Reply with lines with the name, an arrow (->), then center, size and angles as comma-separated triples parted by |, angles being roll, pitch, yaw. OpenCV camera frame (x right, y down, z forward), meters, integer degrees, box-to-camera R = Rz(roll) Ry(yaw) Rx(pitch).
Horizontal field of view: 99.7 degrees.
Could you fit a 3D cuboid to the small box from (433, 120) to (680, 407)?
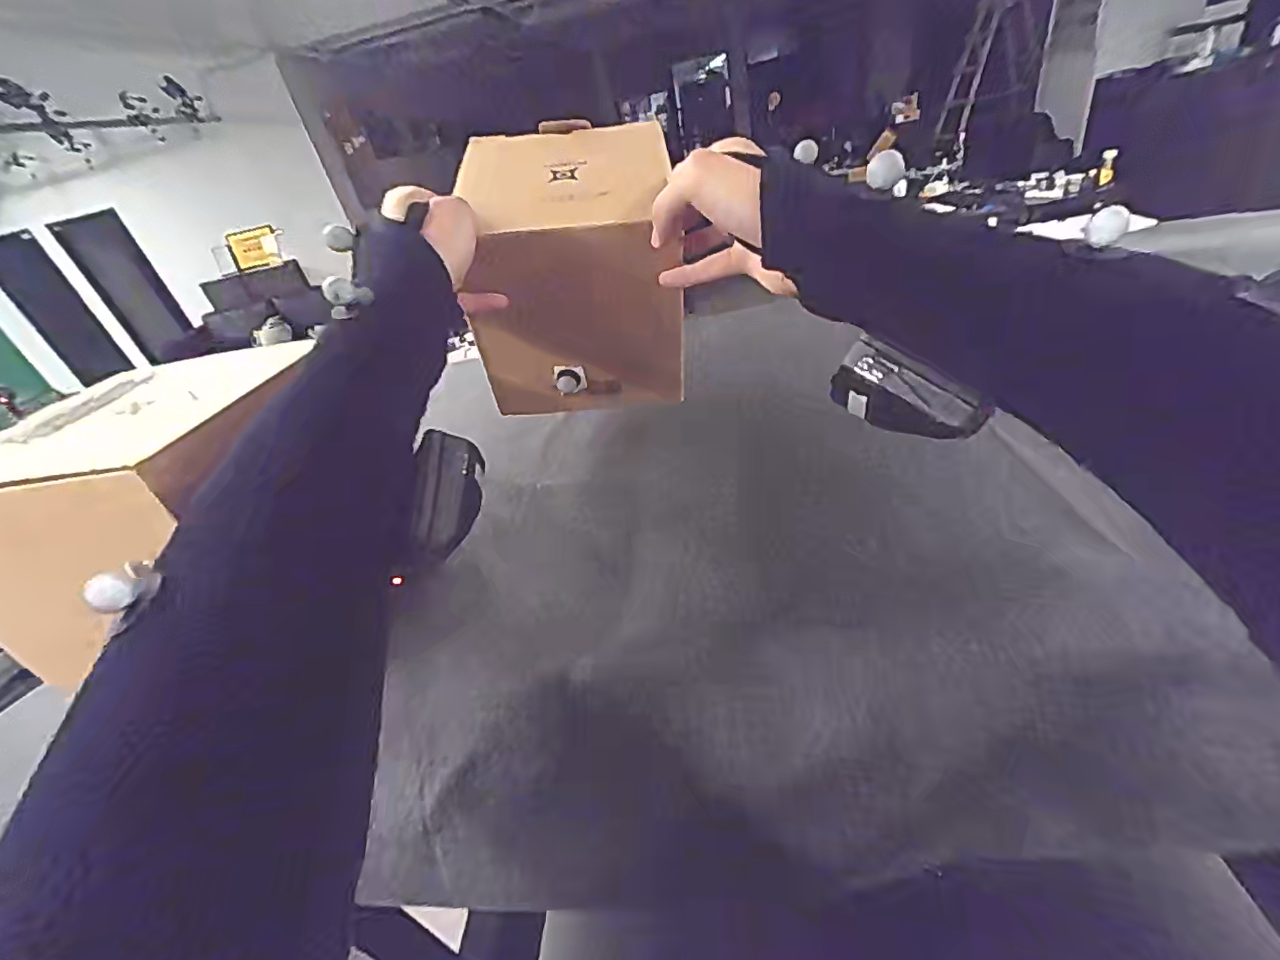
small box -> -0.057, -0.186, 0.469 | 0.168, 0.176, 0.179 | -6, 49, 0
